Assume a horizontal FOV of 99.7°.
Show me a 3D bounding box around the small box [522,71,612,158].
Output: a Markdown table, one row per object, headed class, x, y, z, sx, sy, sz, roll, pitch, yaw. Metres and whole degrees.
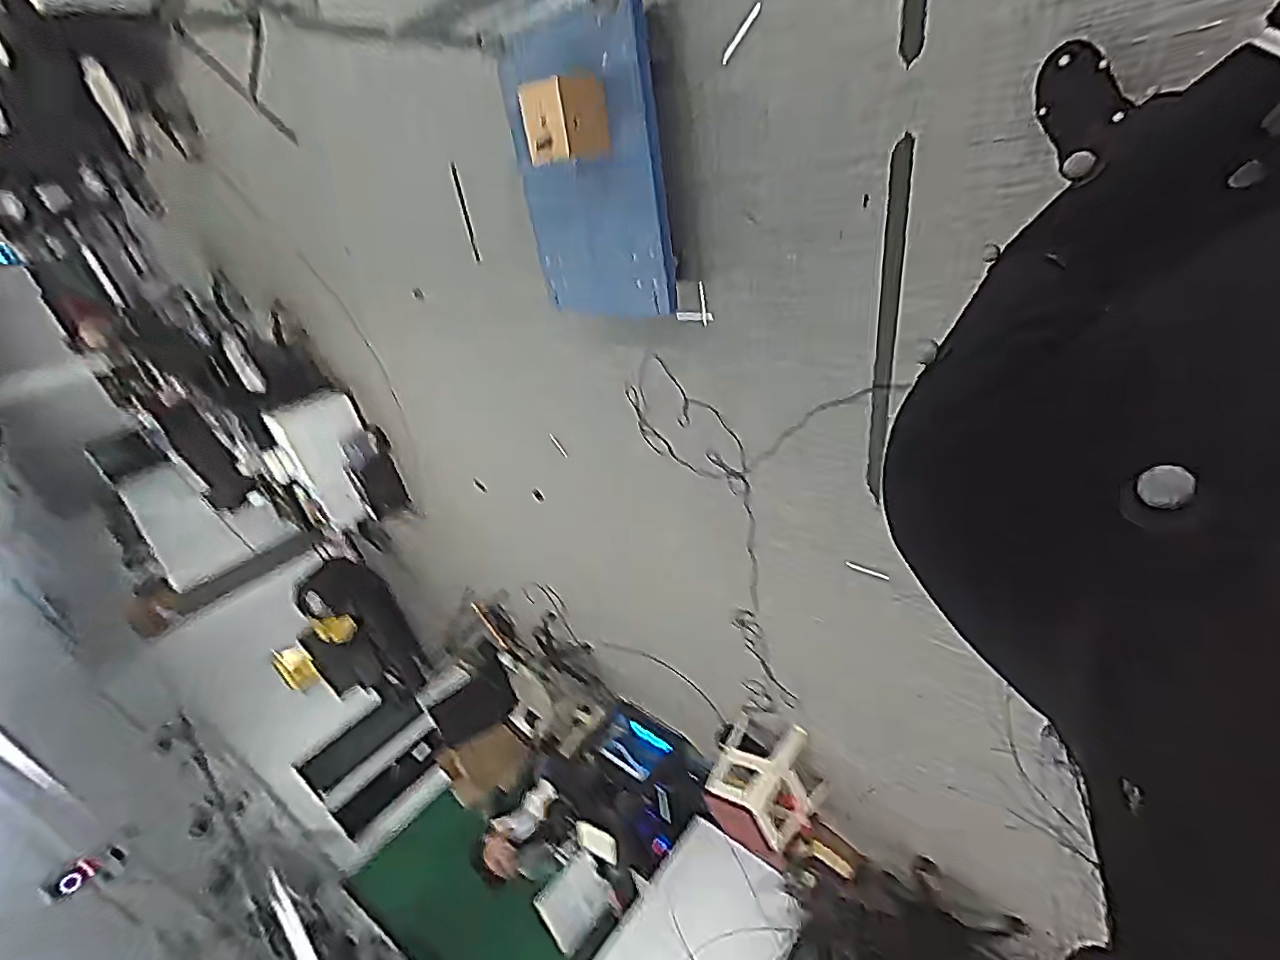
| class | x | y | z | sx | sy | sz | roll | pitch | yaw |
| --- | --- | --- | --- | --- | --- | --- | --- | --- | --- |
| small box | -0.195 | -1.008 | 1.493 | 0.168 | 0.176 | 0.179 | 19 | 130 | 38 |
